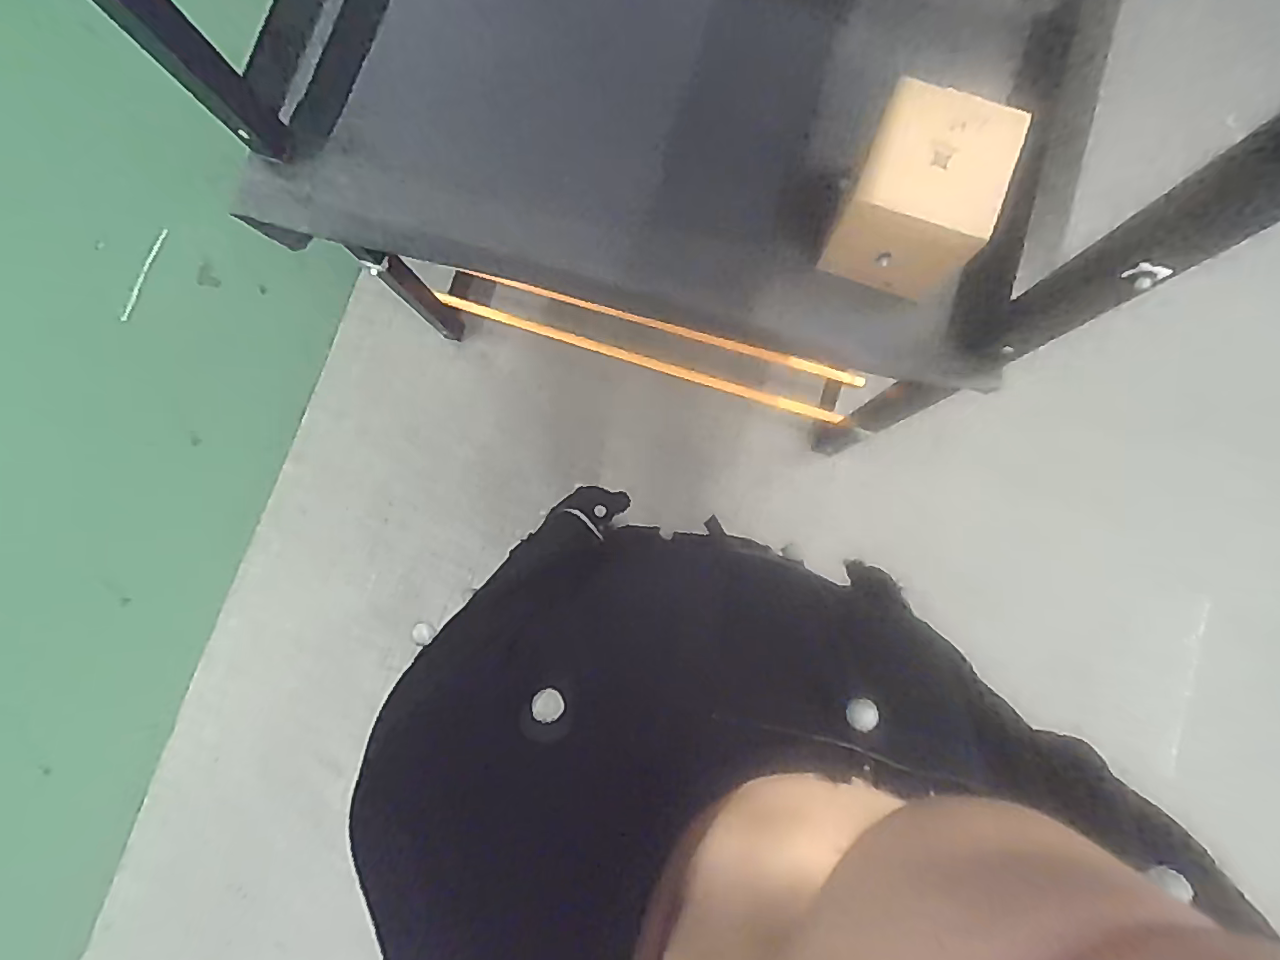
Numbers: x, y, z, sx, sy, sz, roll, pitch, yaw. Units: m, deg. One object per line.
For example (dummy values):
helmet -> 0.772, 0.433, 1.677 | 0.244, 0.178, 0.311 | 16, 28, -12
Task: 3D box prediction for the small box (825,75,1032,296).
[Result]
small box -> 0.366, -0.377, 0.723 | 0.168, 0.176, 0.179 | 21, 84, 5
